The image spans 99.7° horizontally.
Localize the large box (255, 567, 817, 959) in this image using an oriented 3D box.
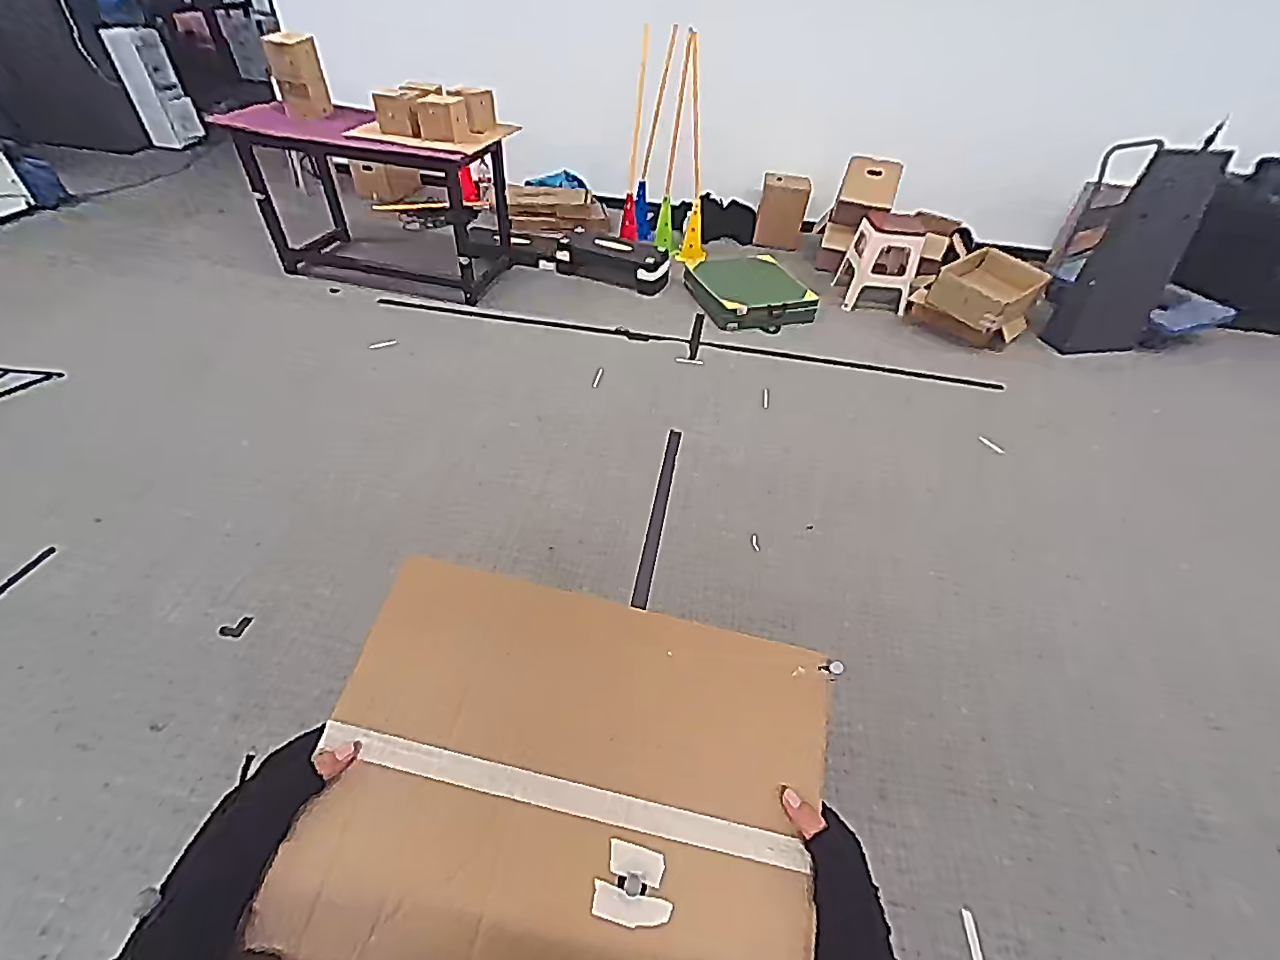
[{"bbox_3d":[-0.067,0.322,0.582,0.408,0.320,0.320,13,64,3],"label":"large box"}]
